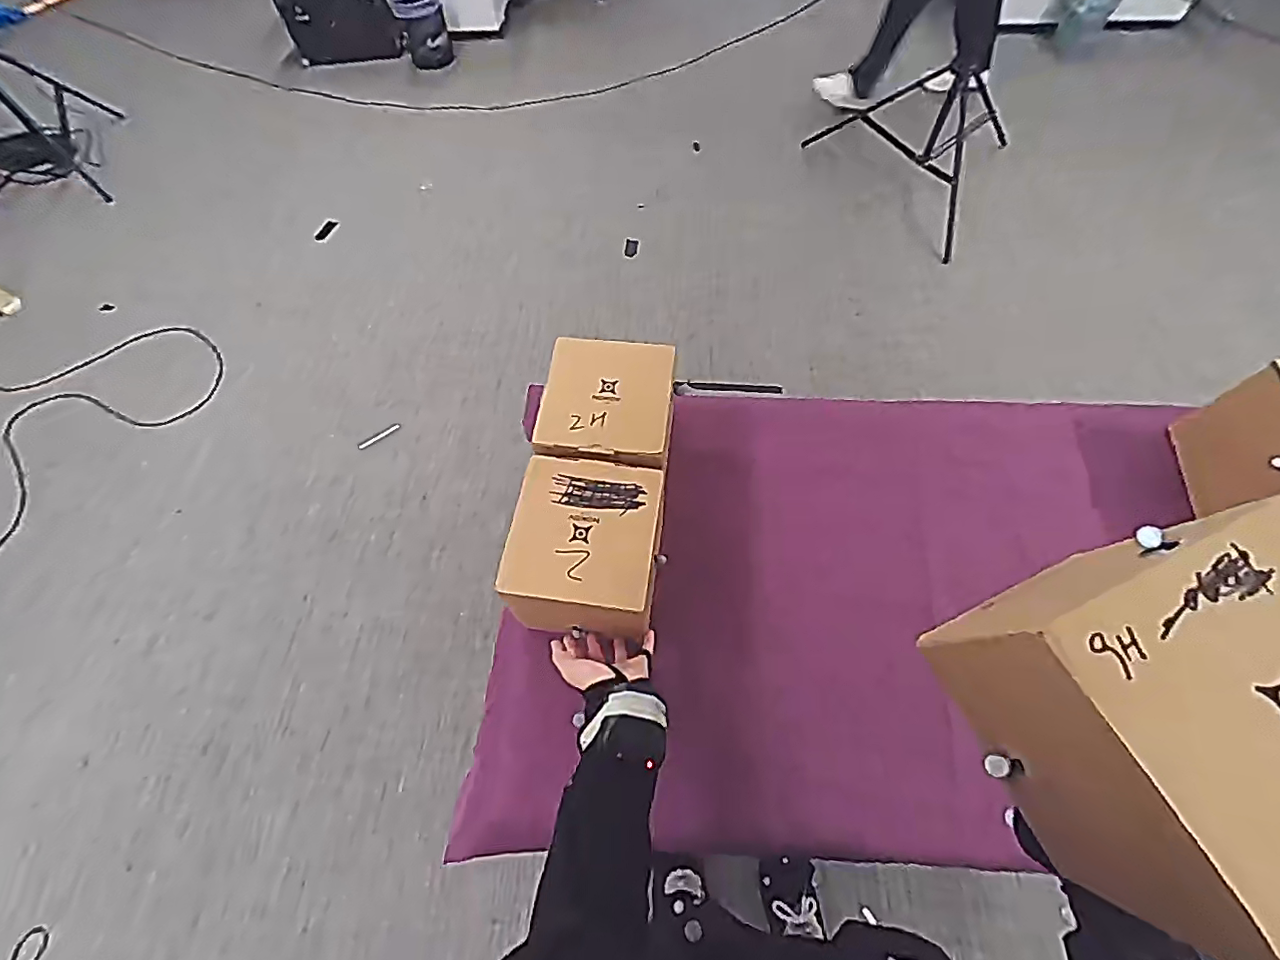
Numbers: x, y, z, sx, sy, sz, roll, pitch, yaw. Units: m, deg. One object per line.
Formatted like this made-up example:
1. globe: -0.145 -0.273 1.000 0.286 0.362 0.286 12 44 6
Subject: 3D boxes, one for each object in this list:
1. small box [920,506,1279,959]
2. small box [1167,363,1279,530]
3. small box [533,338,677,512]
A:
1. small box: 0.322 0.143 0.338 0.168 0.176 0.179 -25 71 -4
2. small box: 0.873 -0.030 0.724 0.168 0.176 0.179 6 66 5
3. small box: -0.041 -0.074 0.771 0.168 0.176 0.179 6 63 5
